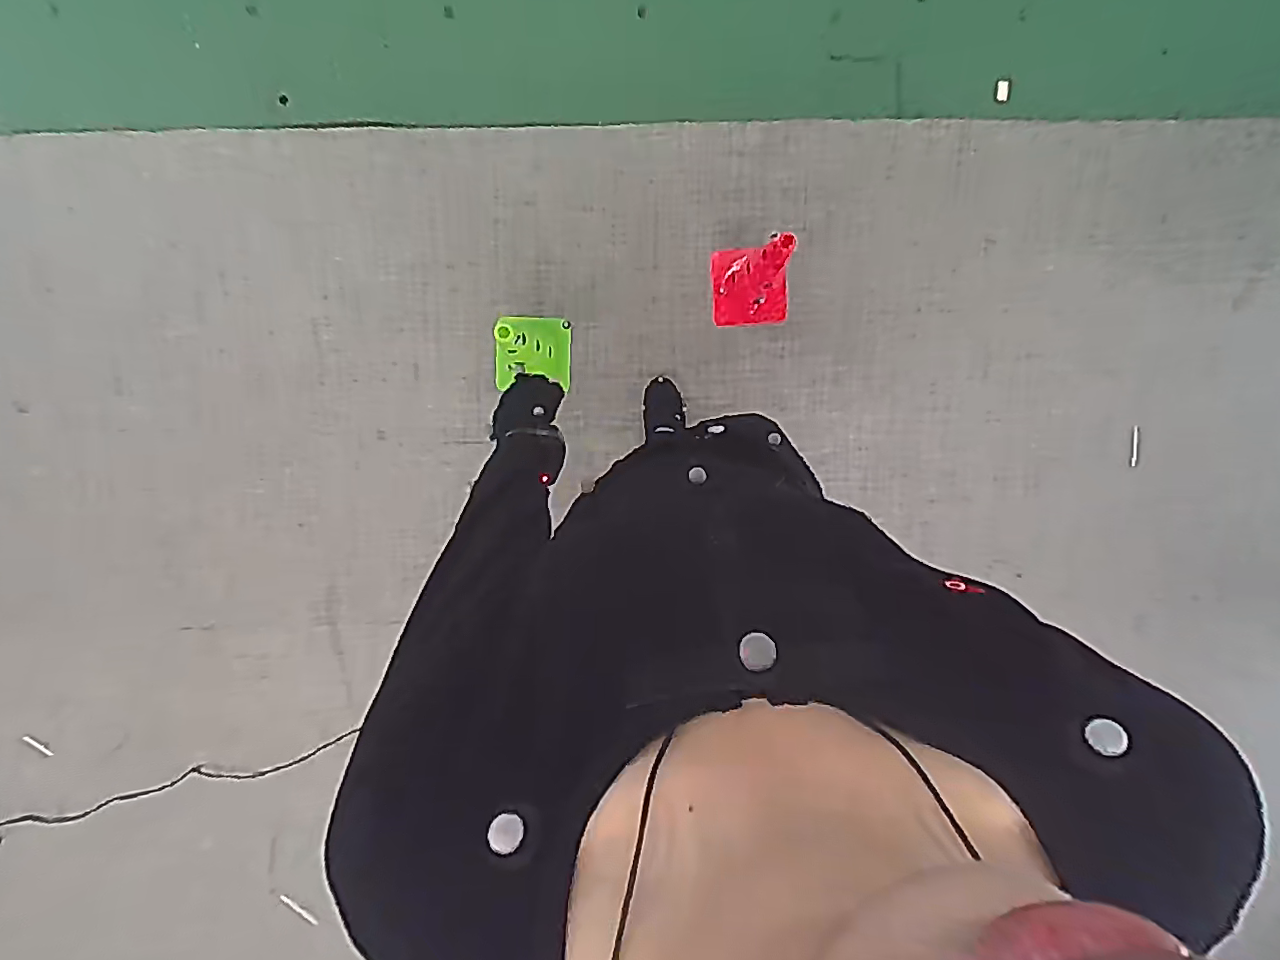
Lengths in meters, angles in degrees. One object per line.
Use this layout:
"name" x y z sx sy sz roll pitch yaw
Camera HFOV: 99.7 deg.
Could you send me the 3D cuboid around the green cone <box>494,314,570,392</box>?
"green cone" -0.286 -0.321 1.282 0.200 0.368 0.202 1 96 -1
